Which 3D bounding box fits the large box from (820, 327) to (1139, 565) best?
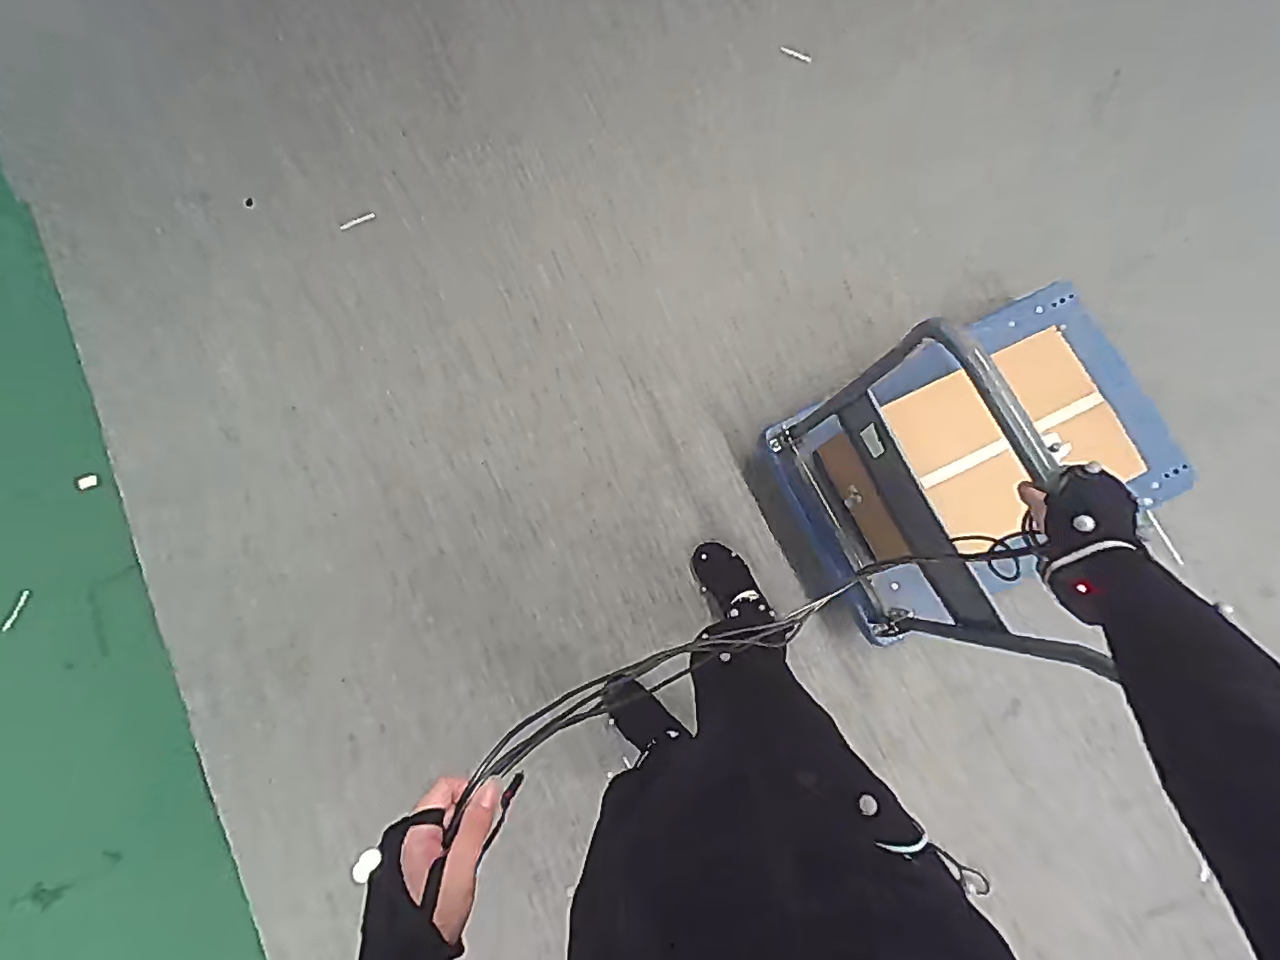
[{"bbox_3d":[0.667,-0.047,1.137,0.408,0.320,0.320,-26,82,-4],"label":"large box"}]
